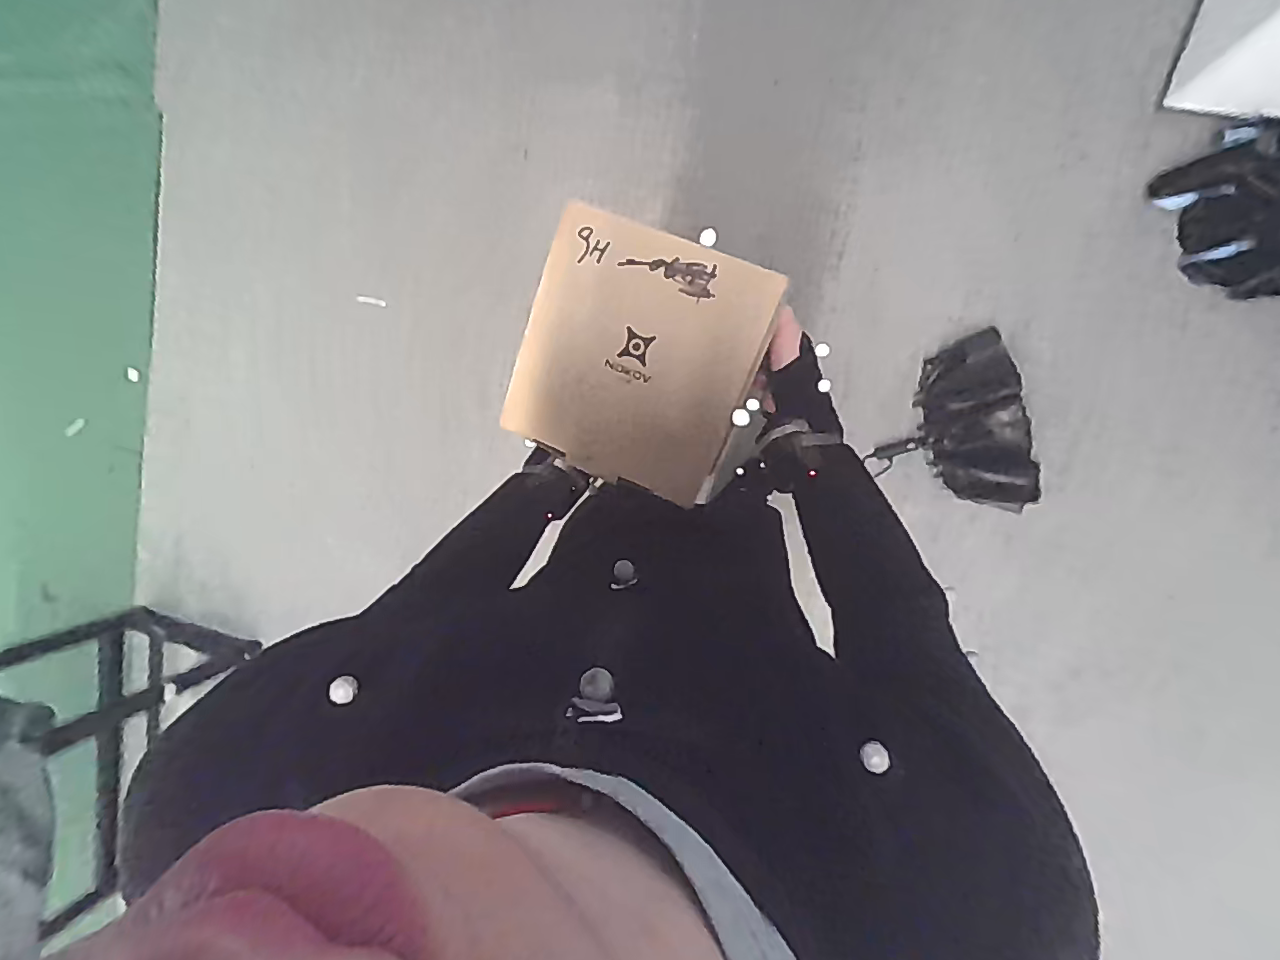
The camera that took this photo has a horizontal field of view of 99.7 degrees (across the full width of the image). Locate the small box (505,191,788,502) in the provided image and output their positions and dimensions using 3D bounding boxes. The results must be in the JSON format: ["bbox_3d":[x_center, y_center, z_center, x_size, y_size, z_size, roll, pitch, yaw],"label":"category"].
[{"bbox_3d":[0.014,-0.108,0.460,0.168,0.176,0.179,23,106,7],"label":"small box"}]
